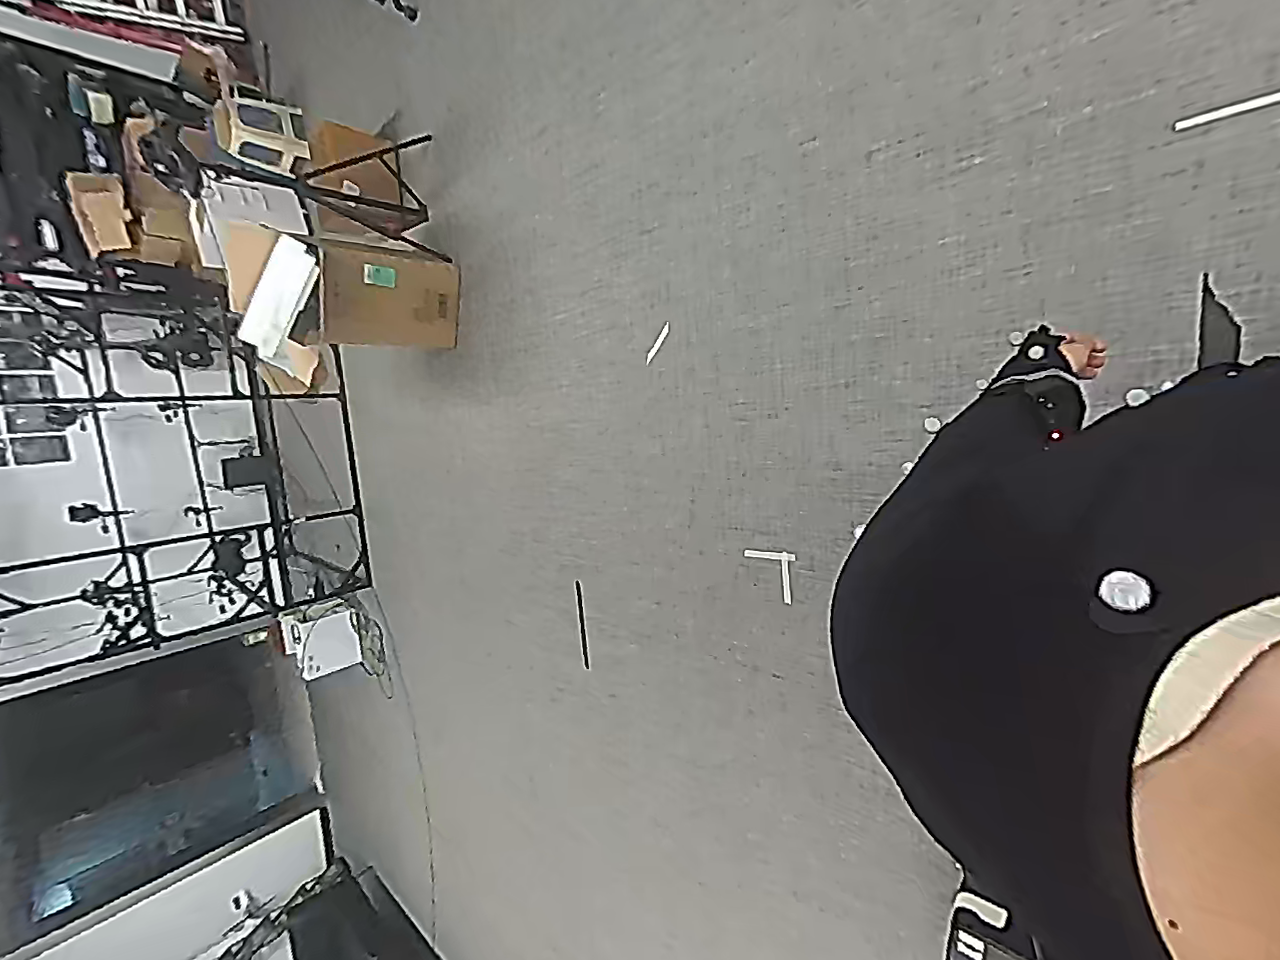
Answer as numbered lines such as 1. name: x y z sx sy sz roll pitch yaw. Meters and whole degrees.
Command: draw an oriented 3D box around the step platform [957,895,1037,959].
1. step platform: 1.002 1.183 1.054 0.684 0.204 0.286 9 103 44
